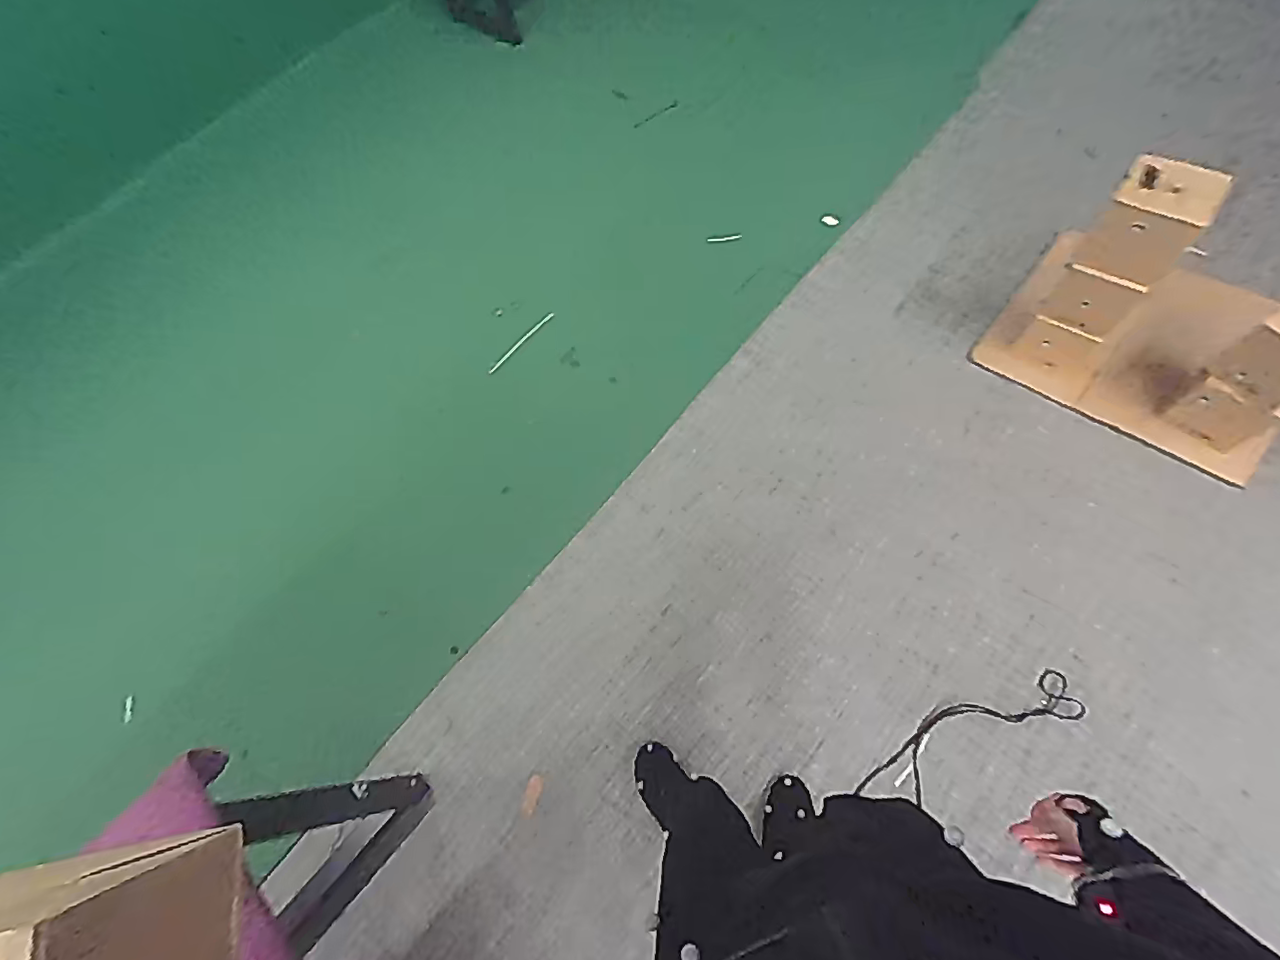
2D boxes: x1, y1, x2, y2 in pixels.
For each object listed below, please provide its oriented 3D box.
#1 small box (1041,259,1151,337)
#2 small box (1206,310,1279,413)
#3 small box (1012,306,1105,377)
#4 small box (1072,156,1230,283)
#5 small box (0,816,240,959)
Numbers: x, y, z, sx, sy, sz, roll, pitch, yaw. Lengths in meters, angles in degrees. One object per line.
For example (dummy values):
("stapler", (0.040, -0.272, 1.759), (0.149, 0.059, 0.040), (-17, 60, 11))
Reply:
("small box", (1.147, -0.491, 1.345), (0.168, 0.176, 0.179), (35, 75, 22))
("small box", (1.442, -0.283, 1.194), (0.179, 0.176, 0.168), (-30, 65, -4))
("small box", (1.171, -0.417, 1.490), (0.168, 0.176, 0.179), (34, 74, 22))
("small box", (1.121, -0.573, 1.204), (0.179, 0.176, 0.168), (33, 75, 21))
("small box", (-0.360, 0.316, 0.305), (0.168, 0.179, 0.176), (-7, 74, -8))
